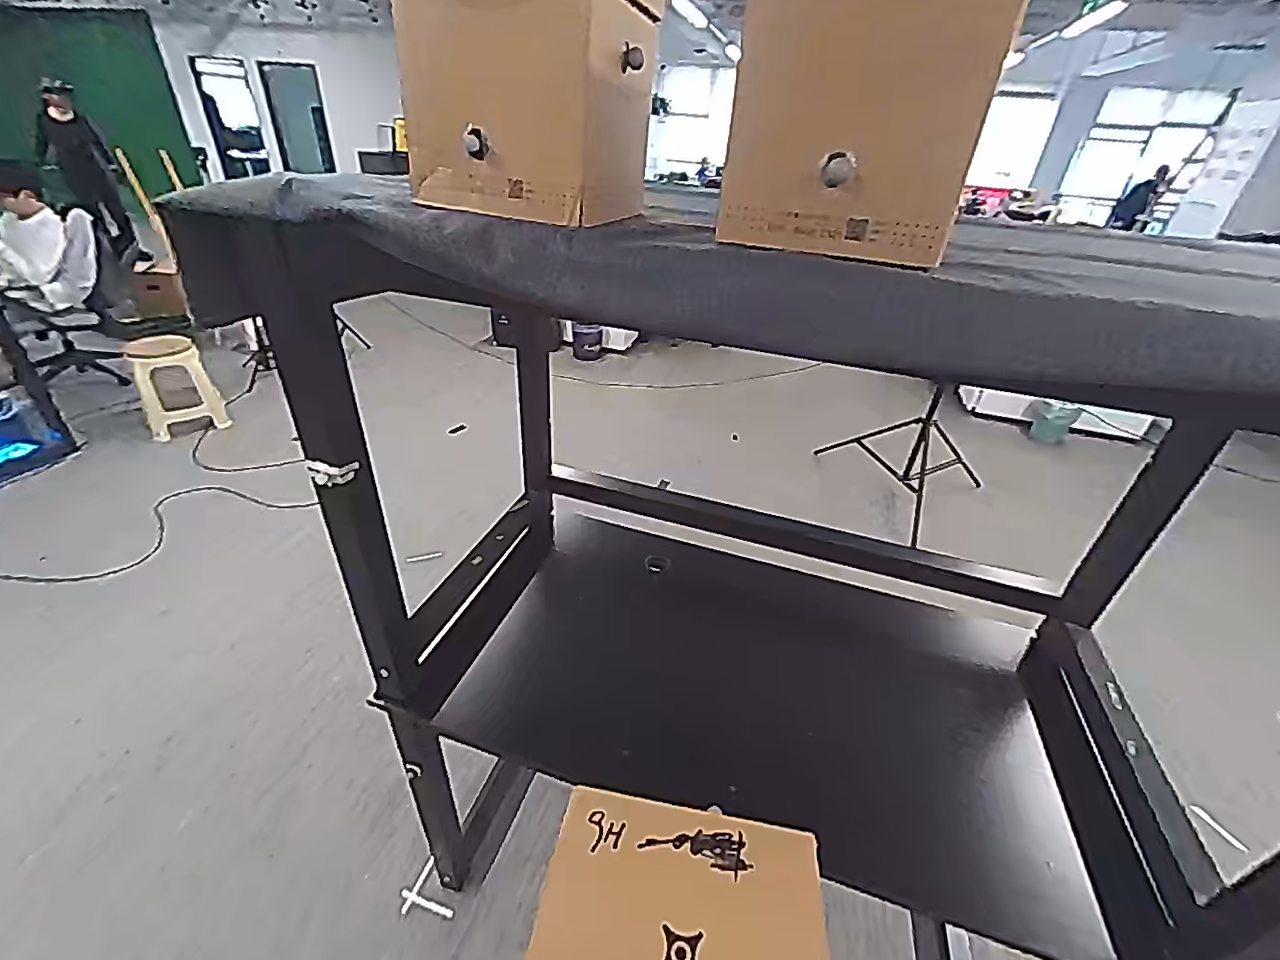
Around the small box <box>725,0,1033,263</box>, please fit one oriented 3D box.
[{"bbox_3d":[0.171,-0.281,0.431,0.168,0.176,0.179,13,31,14],"label":"small box"}]

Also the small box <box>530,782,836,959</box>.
[{"bbox_3d":[0.019,0.328,0.330,0.168,0.176,0.179,8,33,6],"label":"small box"}]

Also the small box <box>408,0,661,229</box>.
[{"bbox_3d":[-0.089,-0.338,0.495,0.168,0.176,0.179,13,32,12],"label":"small box"}]
